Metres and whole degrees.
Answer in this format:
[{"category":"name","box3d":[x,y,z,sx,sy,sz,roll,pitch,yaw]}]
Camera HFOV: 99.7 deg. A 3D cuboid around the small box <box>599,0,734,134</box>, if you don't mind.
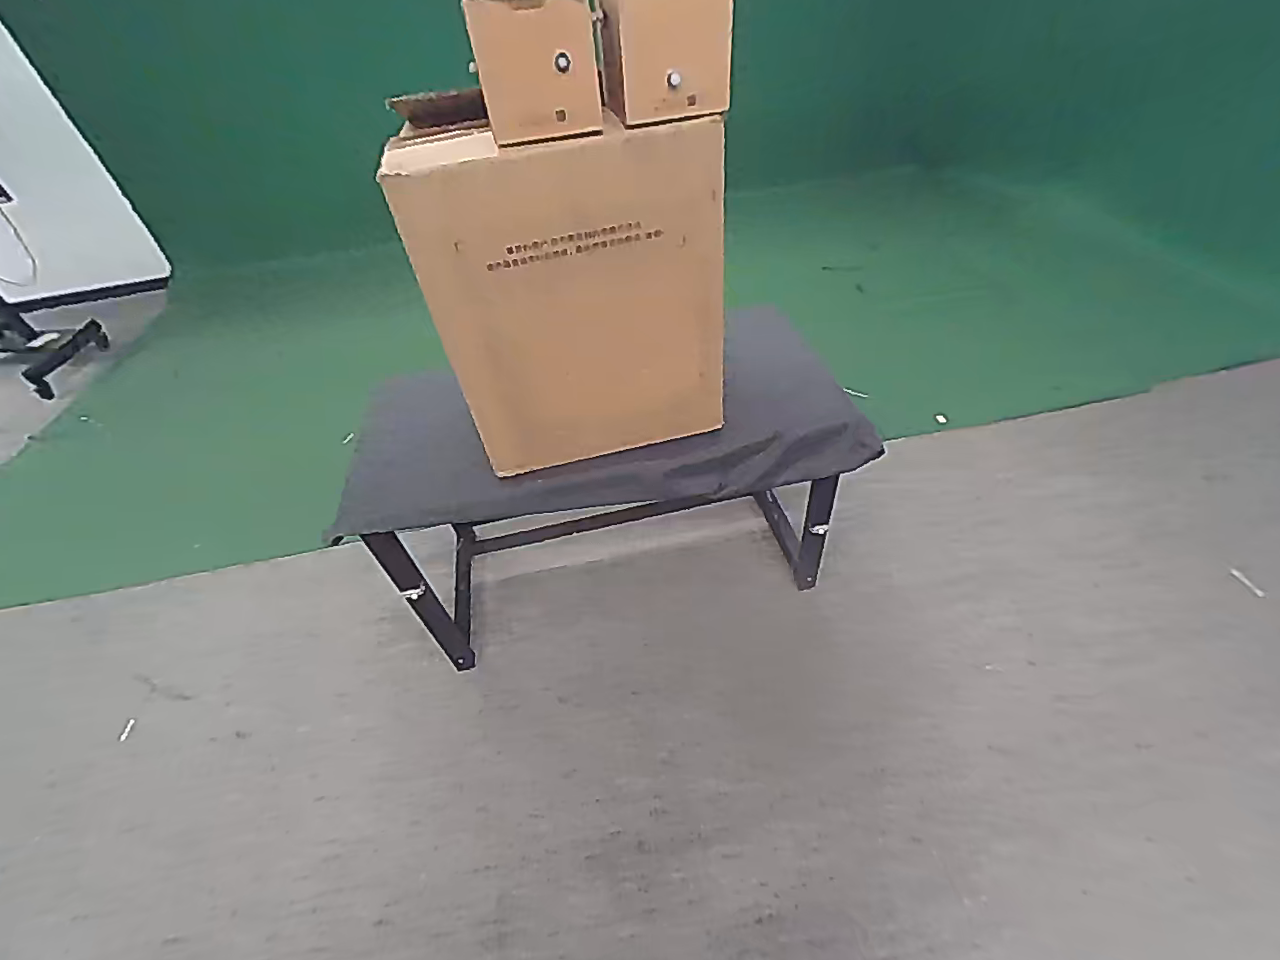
[{"category":"small box","box3d":[0.036,-0.656,0.837,0.168,0.176,0.179,-13,46,-6]}]
